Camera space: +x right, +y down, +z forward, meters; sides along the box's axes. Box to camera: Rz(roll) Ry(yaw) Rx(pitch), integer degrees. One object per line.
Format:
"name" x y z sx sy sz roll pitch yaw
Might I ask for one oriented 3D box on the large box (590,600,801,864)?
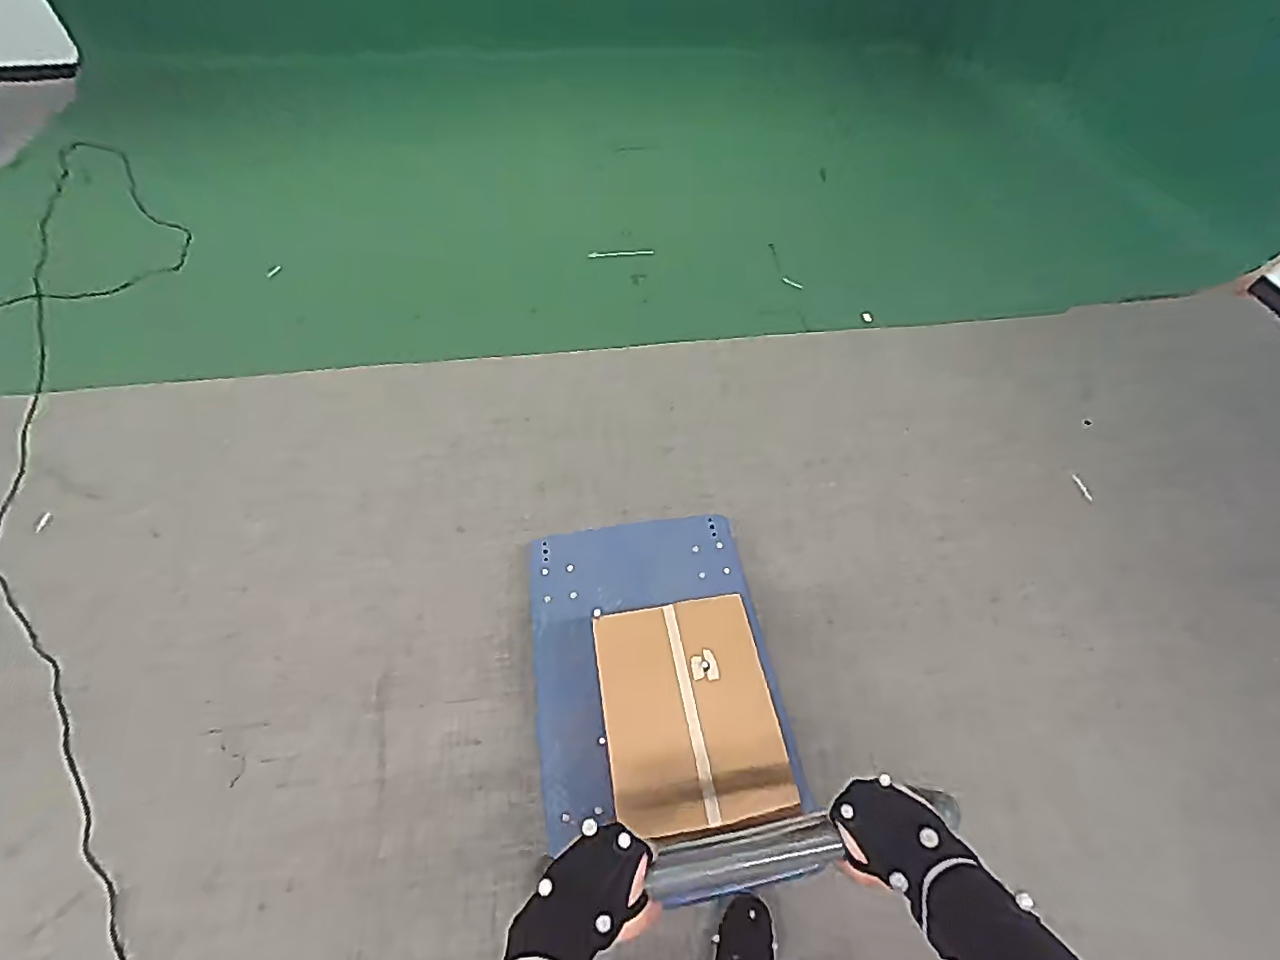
"large box" 0.085 0.520 1.121 0.320 0.320 0.408 -8 54 -8
